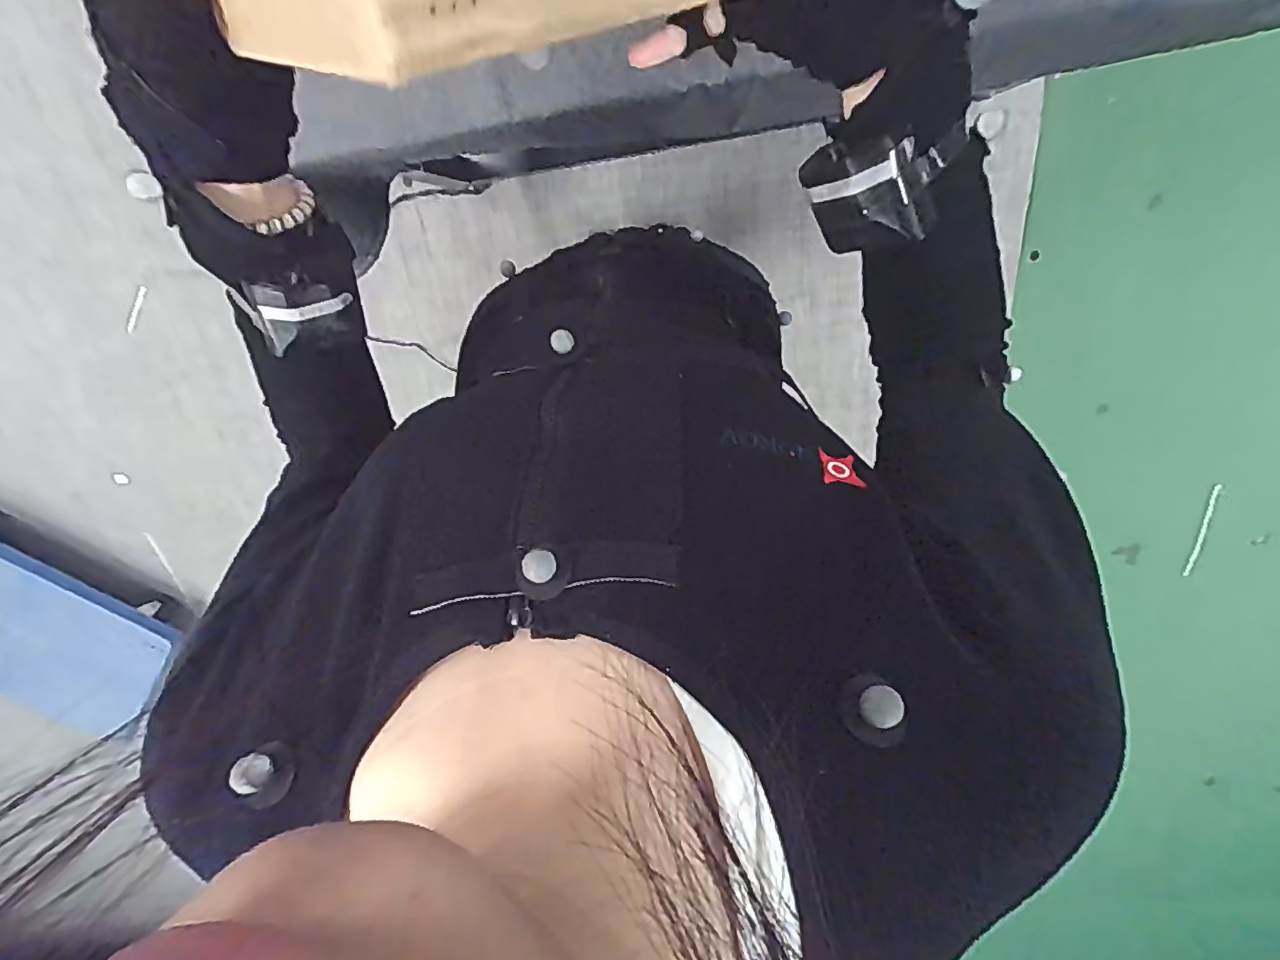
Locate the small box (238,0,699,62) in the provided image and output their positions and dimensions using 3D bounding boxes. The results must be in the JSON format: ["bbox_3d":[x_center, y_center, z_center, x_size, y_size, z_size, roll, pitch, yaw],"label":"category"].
[{"bbox_3d":[-0.070,-0.254,0.166,0.176,0.168,0.179,-37,144,-22],"label":"small box"}]
